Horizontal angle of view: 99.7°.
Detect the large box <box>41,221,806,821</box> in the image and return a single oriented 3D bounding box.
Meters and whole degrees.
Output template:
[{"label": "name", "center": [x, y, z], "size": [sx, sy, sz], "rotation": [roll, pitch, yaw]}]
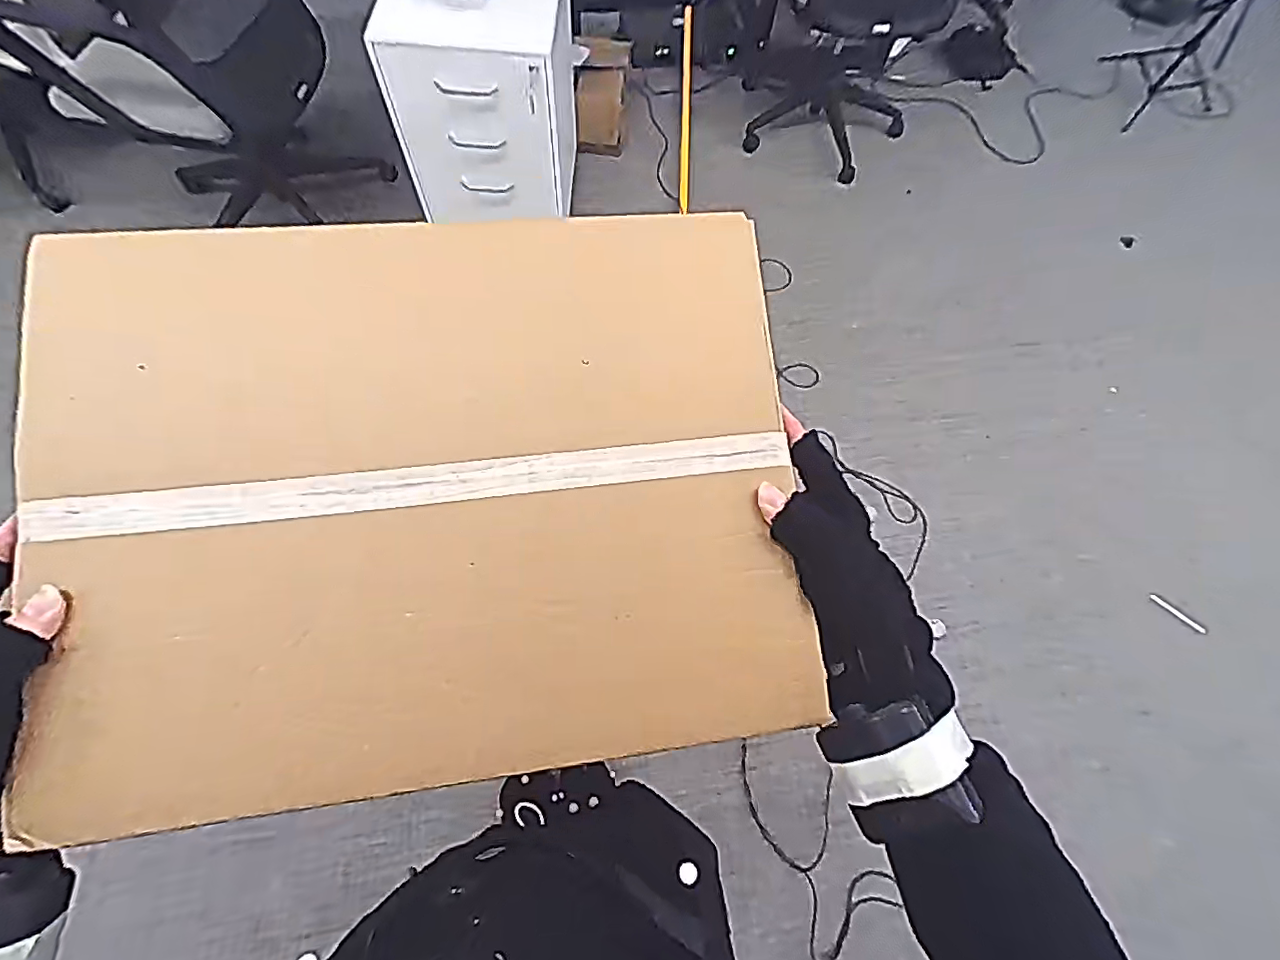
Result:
[{"label": "large box", "center": [-0.129, 0.020, 0.457], "size": [0.408, 0.320, 0.320], "rotation": [-5, 81, -7]}]
